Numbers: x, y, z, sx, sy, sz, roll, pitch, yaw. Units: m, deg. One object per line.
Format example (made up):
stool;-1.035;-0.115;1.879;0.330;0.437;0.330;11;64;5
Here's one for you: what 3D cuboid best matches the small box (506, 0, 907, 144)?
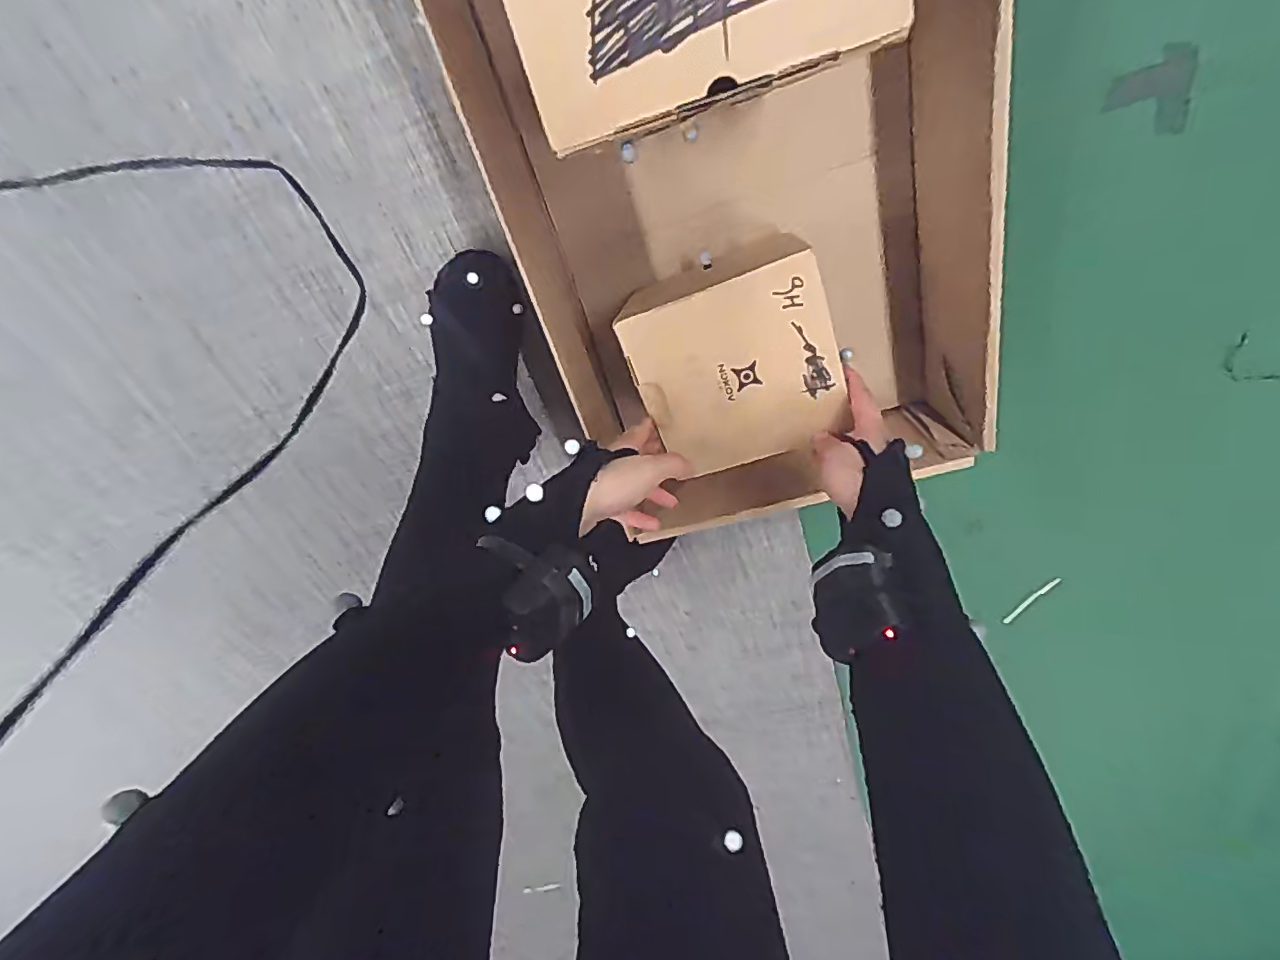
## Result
small box;0.014;-0.288;0.266;0.168;0.176;0.179;-14;120;8
